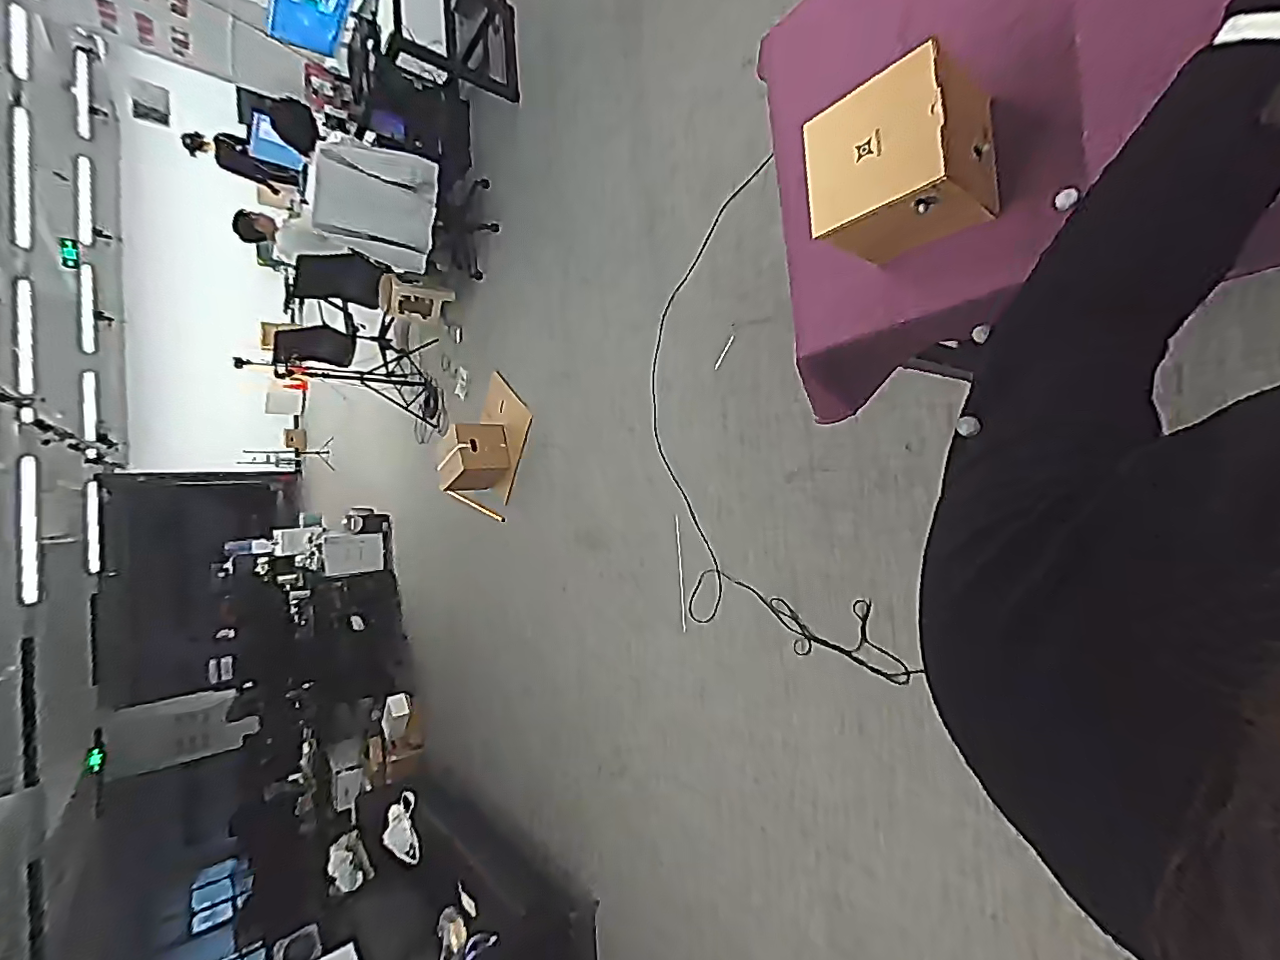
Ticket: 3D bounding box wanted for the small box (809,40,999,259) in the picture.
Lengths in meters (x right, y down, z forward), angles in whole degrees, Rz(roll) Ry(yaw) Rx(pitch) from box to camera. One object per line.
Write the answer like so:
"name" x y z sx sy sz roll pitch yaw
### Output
"small box" 0.358 -0.427 0.740 0.179 0.176 0.168 -7 86 51
